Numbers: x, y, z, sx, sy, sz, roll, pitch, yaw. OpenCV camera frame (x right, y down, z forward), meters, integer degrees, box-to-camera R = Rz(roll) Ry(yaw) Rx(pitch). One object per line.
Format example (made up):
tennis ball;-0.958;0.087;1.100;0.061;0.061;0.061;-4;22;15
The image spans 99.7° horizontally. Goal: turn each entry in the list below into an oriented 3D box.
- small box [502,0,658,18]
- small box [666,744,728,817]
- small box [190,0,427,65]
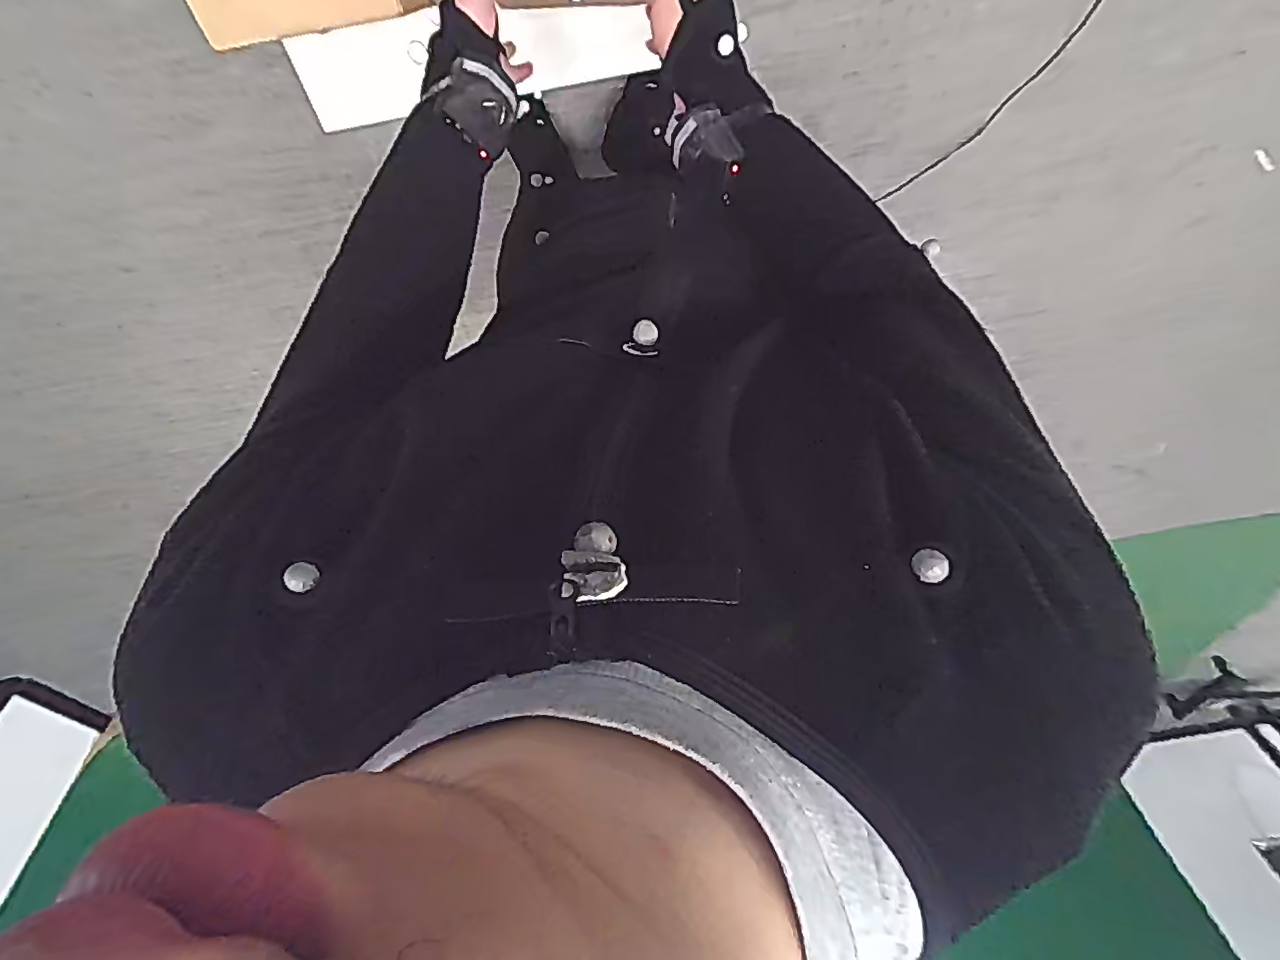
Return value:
small box;-0.056;-0.533;0.480;0.179;0.176;0.168;-6;124;-3
small box;0.186;0.998;1.803;0.179;0.176;0.168;-7;133;-2
small box;-0.311;-0.502;0.490;0.179;0.176;0.168;-9;133;2
